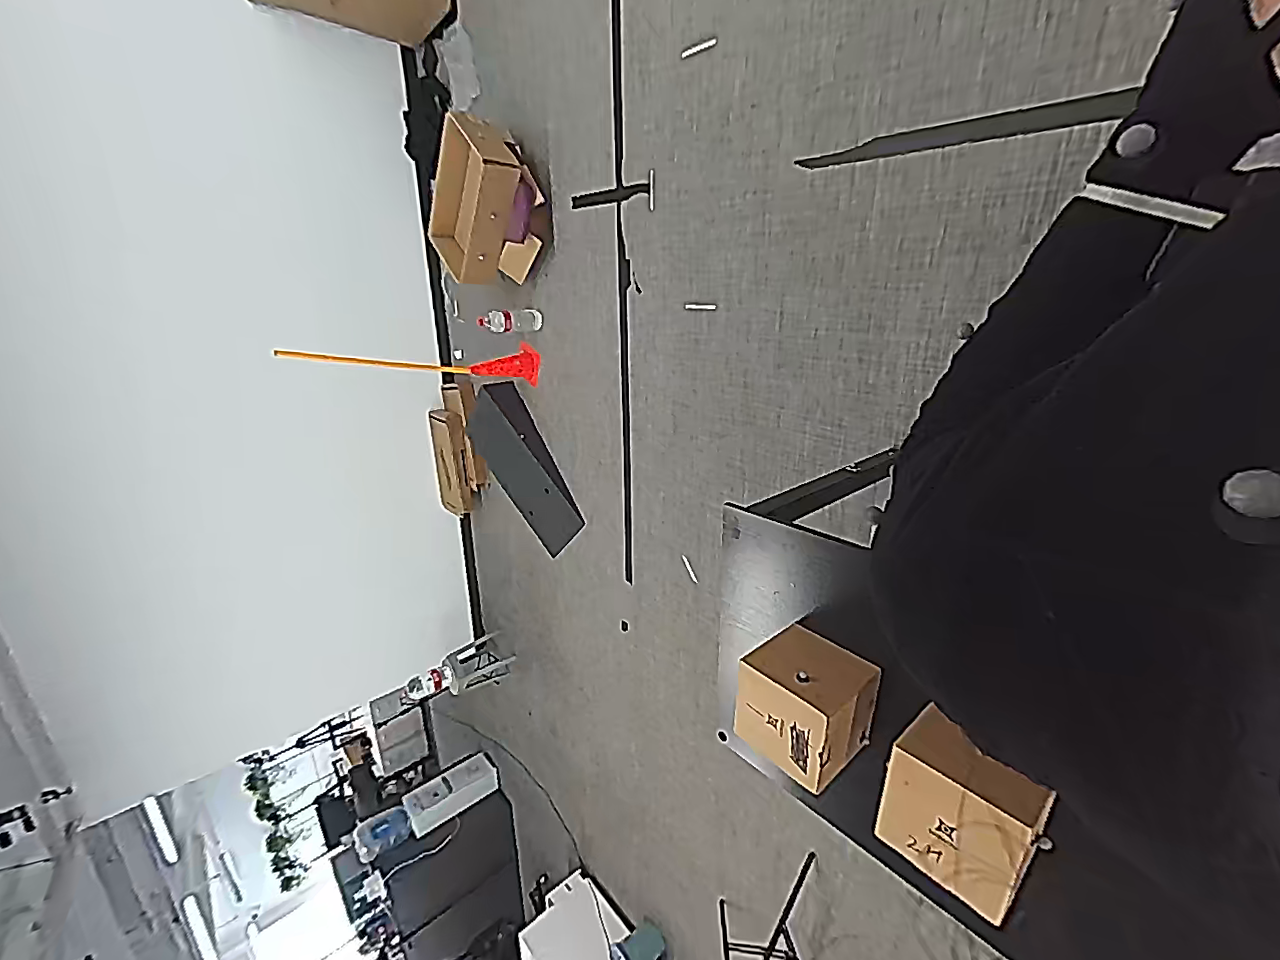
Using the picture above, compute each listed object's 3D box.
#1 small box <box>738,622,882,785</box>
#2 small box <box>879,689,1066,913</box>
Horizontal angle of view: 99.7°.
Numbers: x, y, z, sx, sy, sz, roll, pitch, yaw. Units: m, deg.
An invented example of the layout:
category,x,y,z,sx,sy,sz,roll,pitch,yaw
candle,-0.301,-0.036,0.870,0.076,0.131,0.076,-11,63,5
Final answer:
category,x,y,z,sx,sy,sz,roll,pitch,yaw
small box,0.298,0.378,0.953,0.179,0.176,0.168,23,120,45
small box,0.468,0.433,0.764,0.168,0.176,0.179,23,120,46
